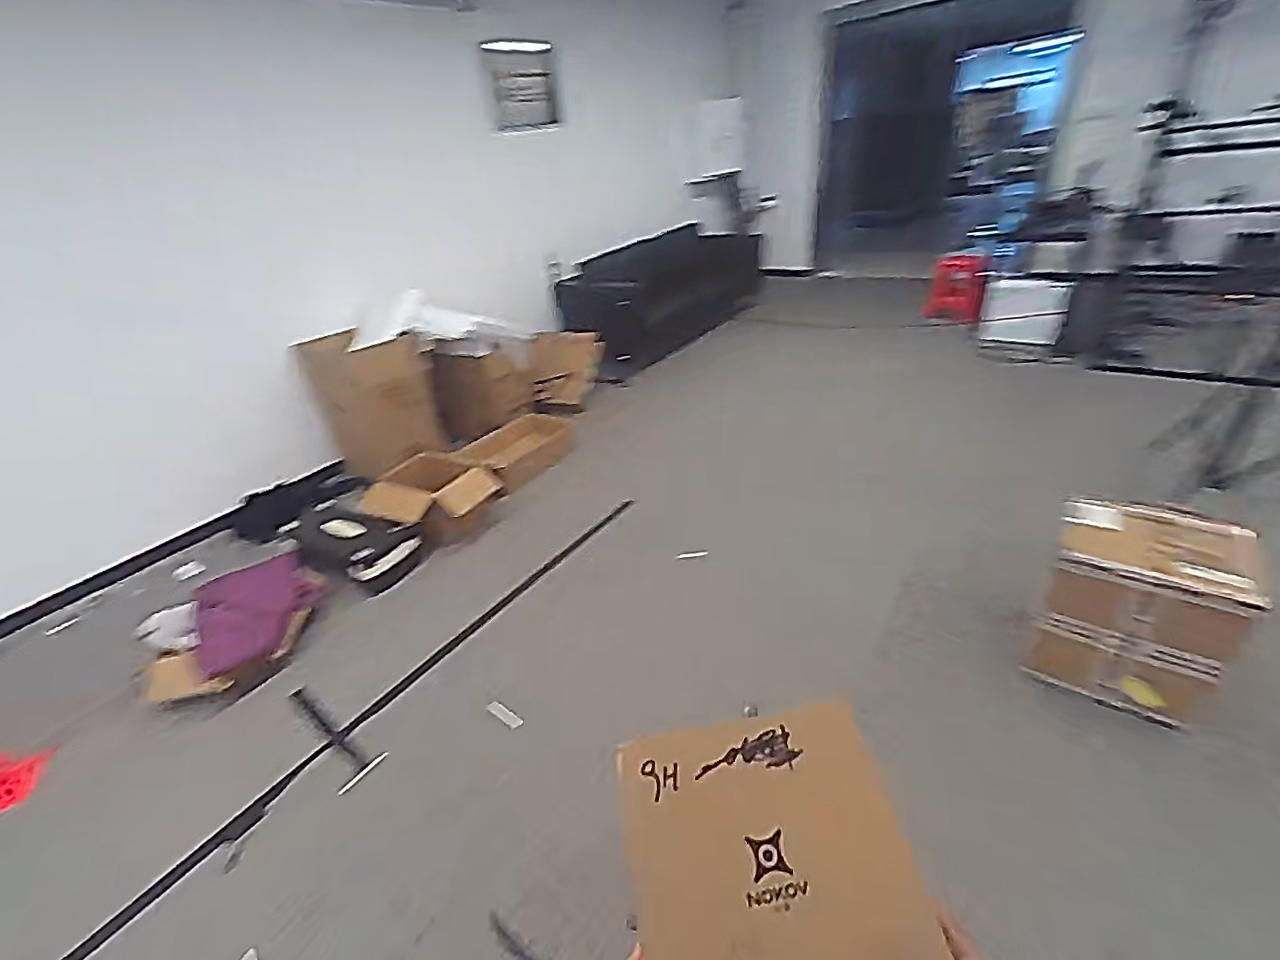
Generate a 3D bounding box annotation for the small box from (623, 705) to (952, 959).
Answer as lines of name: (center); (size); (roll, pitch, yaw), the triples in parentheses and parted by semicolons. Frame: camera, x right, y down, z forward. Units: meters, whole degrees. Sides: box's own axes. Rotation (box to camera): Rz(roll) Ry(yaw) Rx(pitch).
small box: (0.088, 0.283, 0.378); (0.168, 0.176, 0.179); (-10, 50, -1)
